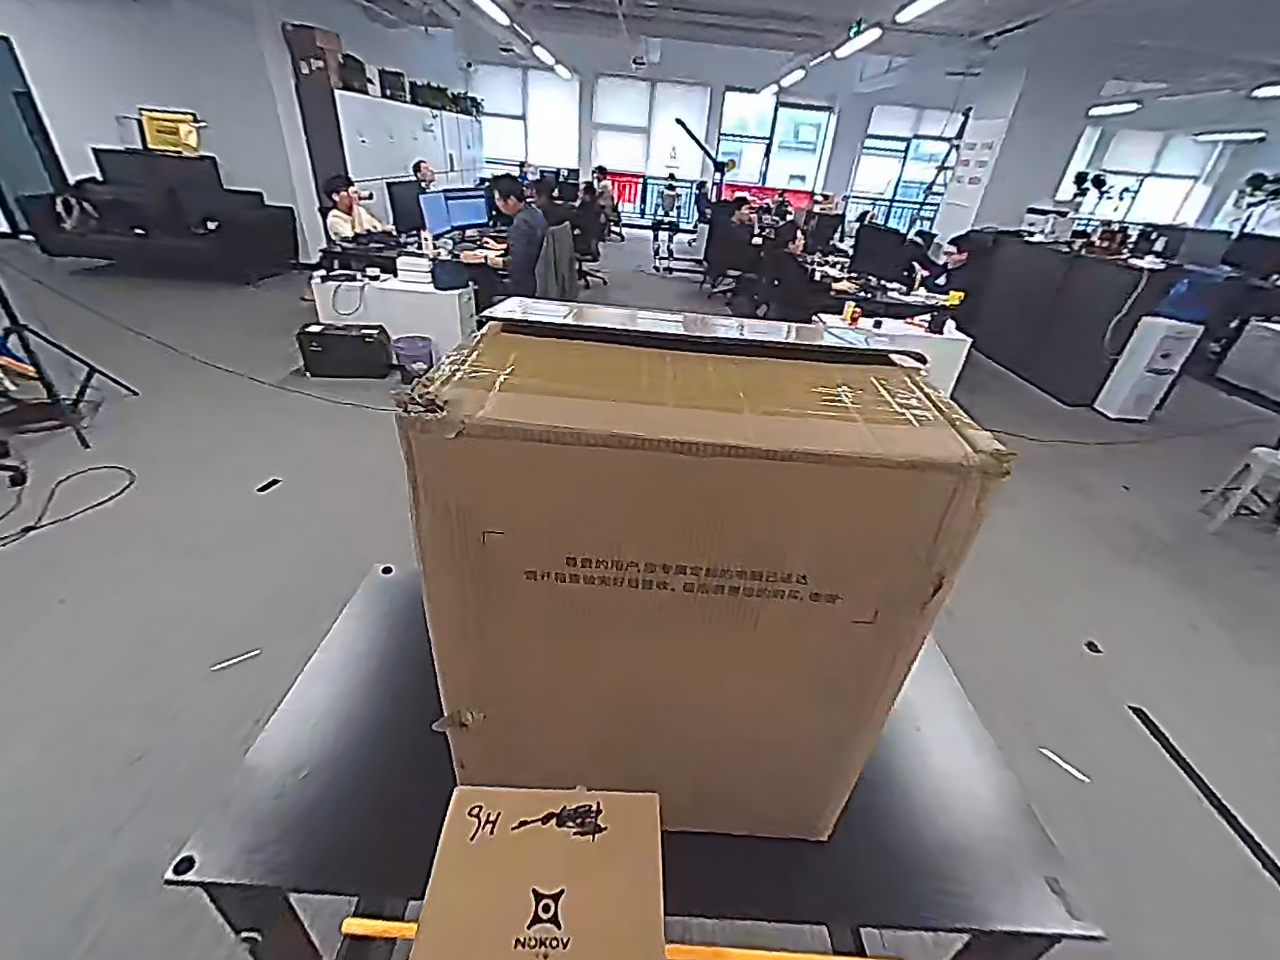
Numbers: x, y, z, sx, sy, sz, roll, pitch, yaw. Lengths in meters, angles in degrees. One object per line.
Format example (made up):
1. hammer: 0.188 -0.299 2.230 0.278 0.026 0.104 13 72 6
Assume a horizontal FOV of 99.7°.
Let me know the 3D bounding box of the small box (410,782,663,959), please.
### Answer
1. small box: -0.072 0.360 0.412 0.168 0.176 0.179 4 37 -4
